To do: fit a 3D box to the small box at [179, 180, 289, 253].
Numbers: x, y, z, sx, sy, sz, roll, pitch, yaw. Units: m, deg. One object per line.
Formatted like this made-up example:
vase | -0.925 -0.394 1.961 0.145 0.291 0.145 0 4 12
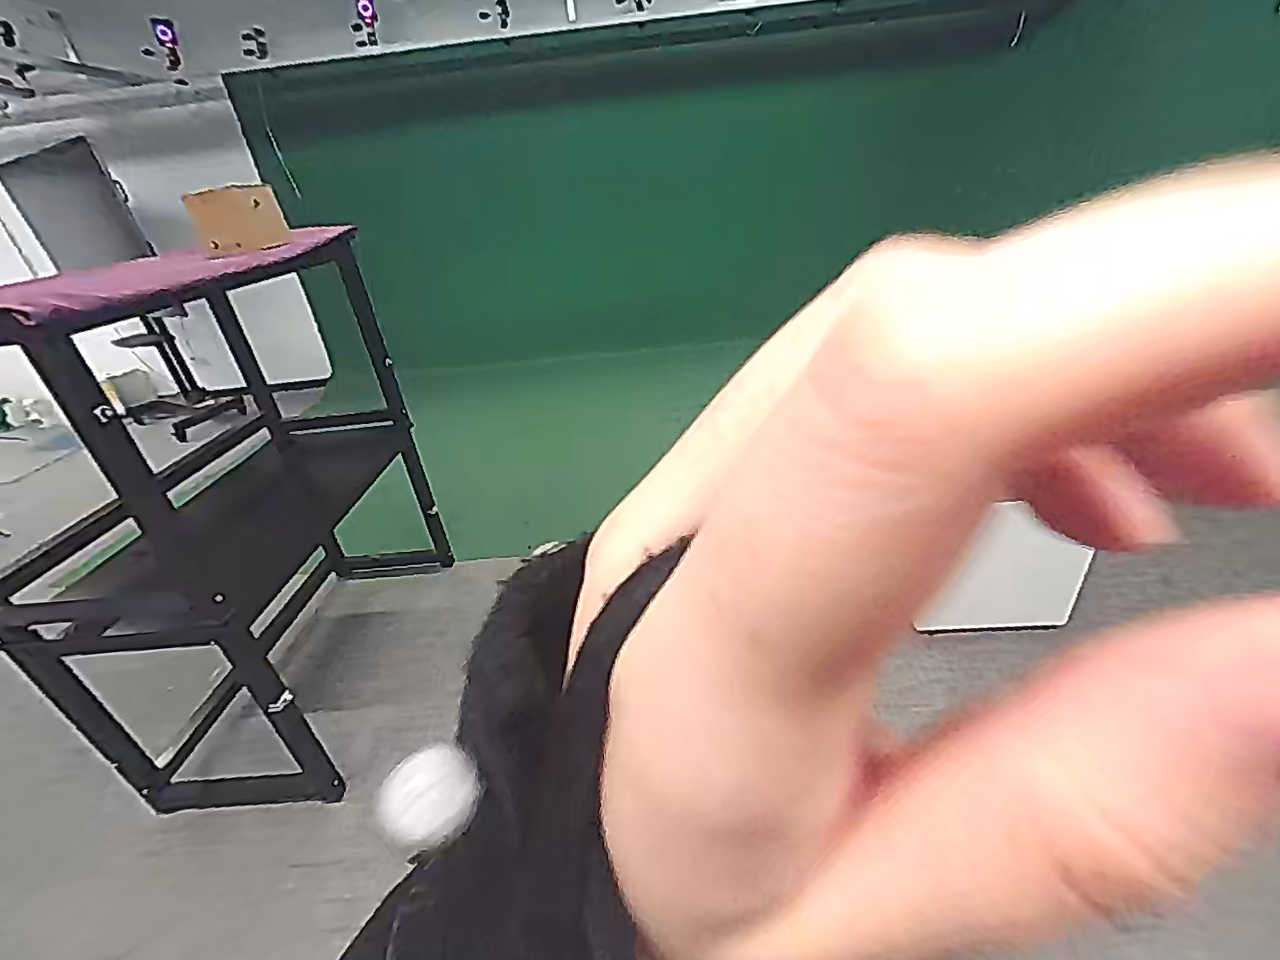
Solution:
small box | -1.197 -0.783 1.613 0.168 0.176 0.179 -6 30 5
